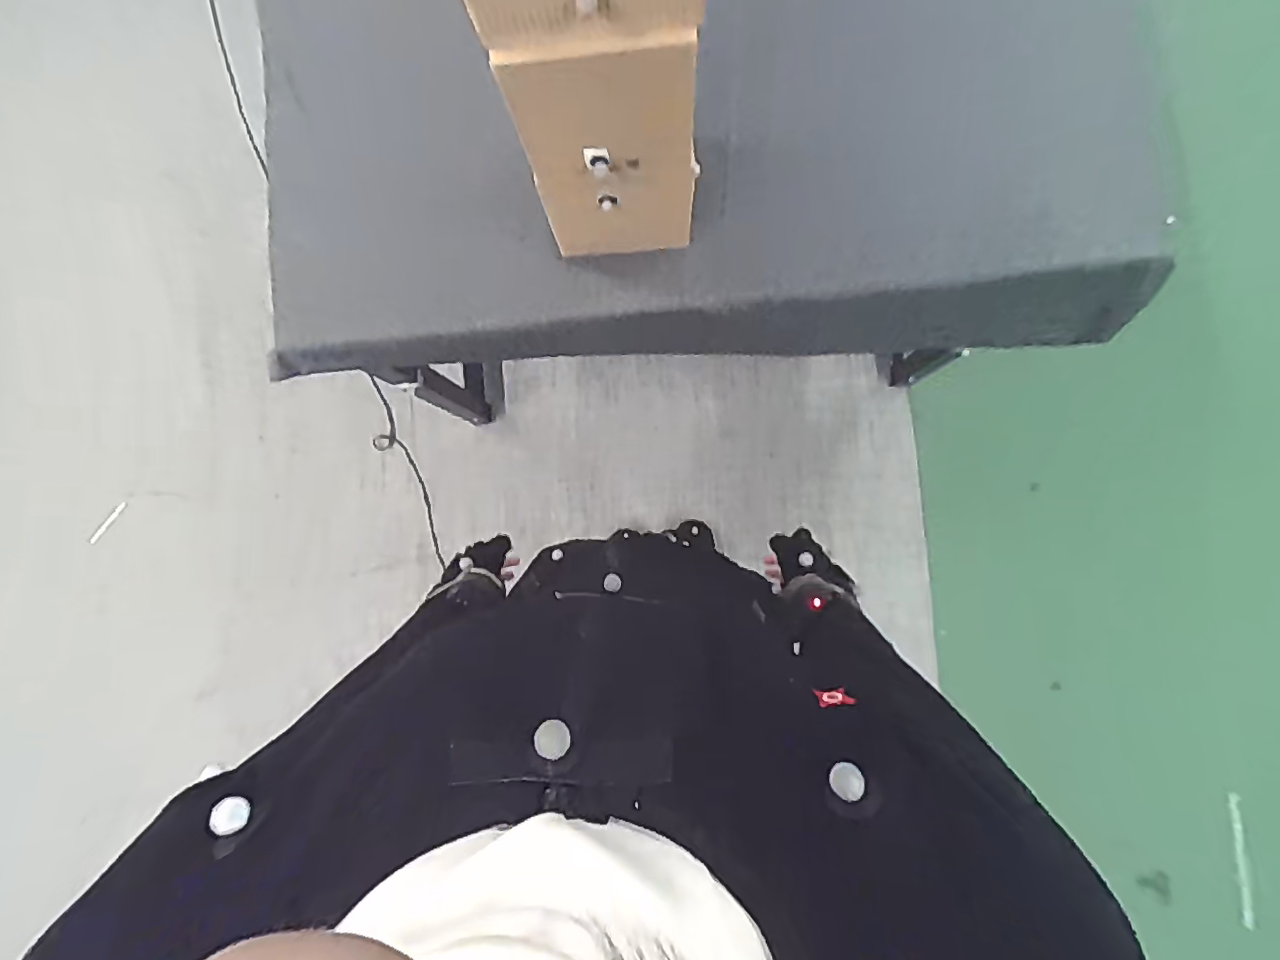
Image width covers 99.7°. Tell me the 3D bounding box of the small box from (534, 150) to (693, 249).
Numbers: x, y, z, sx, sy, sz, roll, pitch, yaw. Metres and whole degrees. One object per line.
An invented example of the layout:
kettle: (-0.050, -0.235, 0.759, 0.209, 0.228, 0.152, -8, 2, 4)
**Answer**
small box: (-0.026, -0.404, 0.668, 0.179, 0.176, 0.168, -2, 86, 3)

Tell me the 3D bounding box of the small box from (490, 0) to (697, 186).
small box: (-0.036, -0.414, 0.507, 0.168, 0.176, 0.179, -4, 87, 5)

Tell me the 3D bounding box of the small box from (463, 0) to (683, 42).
small box: (-0.049, -0.429, 0.345, 0.179, 0.176, 0.168, -3, 86, 4)
